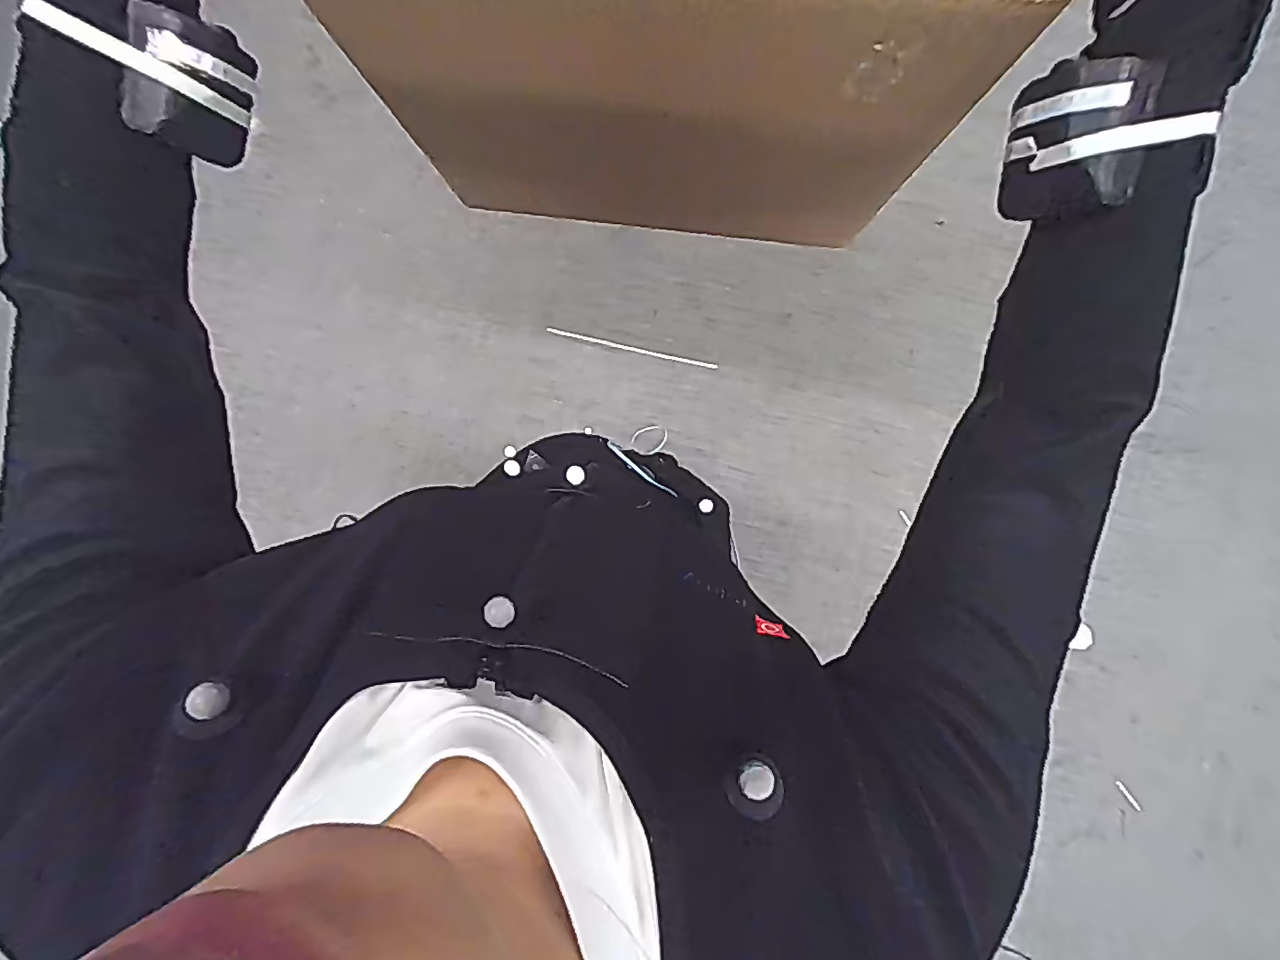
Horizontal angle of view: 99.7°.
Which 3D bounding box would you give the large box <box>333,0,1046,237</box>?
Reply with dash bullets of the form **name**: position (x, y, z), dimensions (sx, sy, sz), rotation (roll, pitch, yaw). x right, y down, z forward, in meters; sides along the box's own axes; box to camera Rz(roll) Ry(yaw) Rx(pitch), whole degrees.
- **large box**: position (0.027, -0.414, 0.413), dimensions (0.408, 0.320, 0.320), rotation (6, 93, 0)
